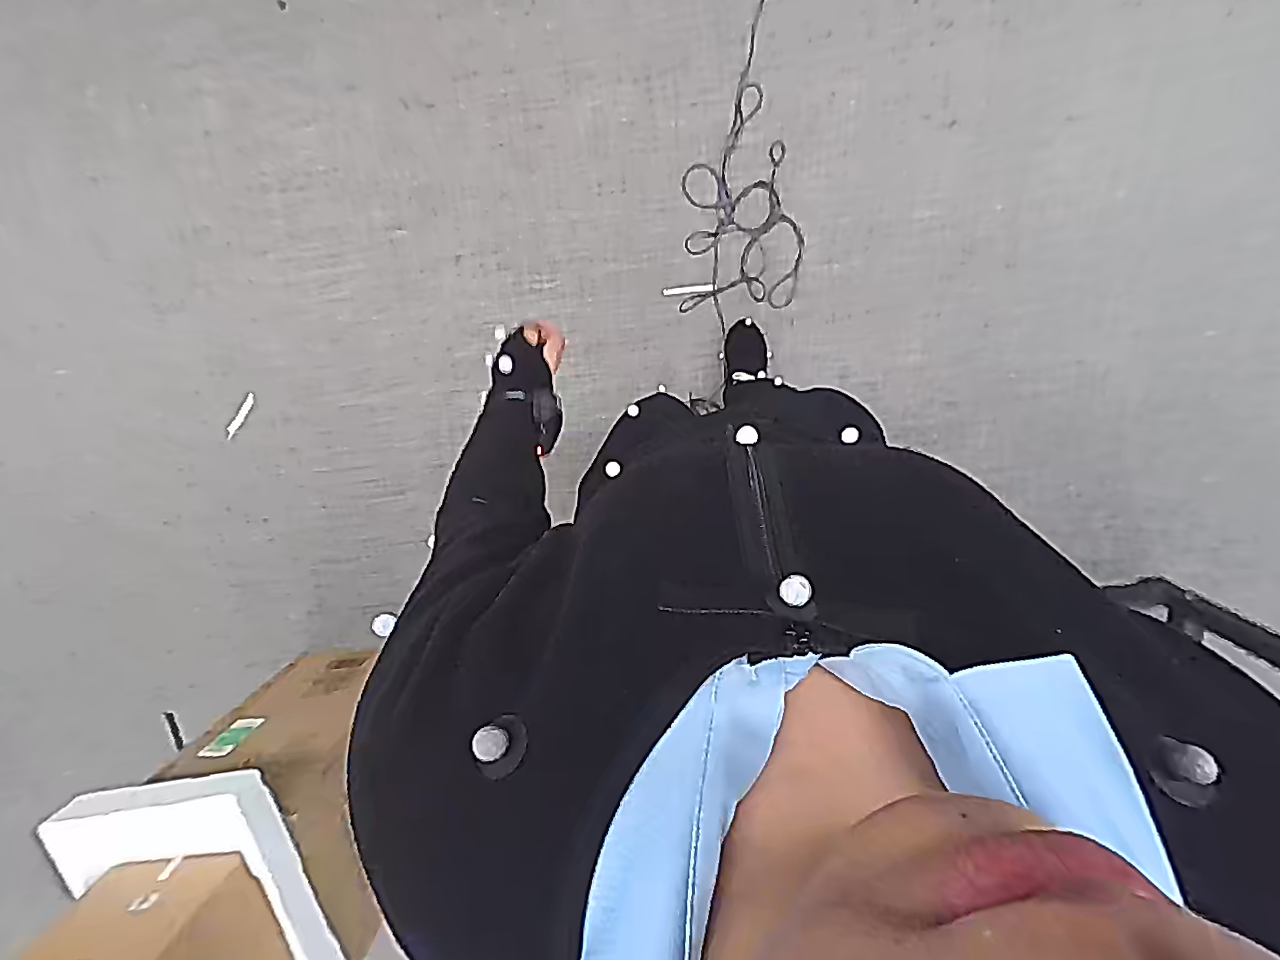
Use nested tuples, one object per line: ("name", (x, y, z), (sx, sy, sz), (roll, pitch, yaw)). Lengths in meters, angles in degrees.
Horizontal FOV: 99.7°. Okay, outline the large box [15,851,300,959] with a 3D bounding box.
("large box", (-0.891, 0.979, 0.984), (0.320, 0.320, 0.408), (-9, 104, 7))
